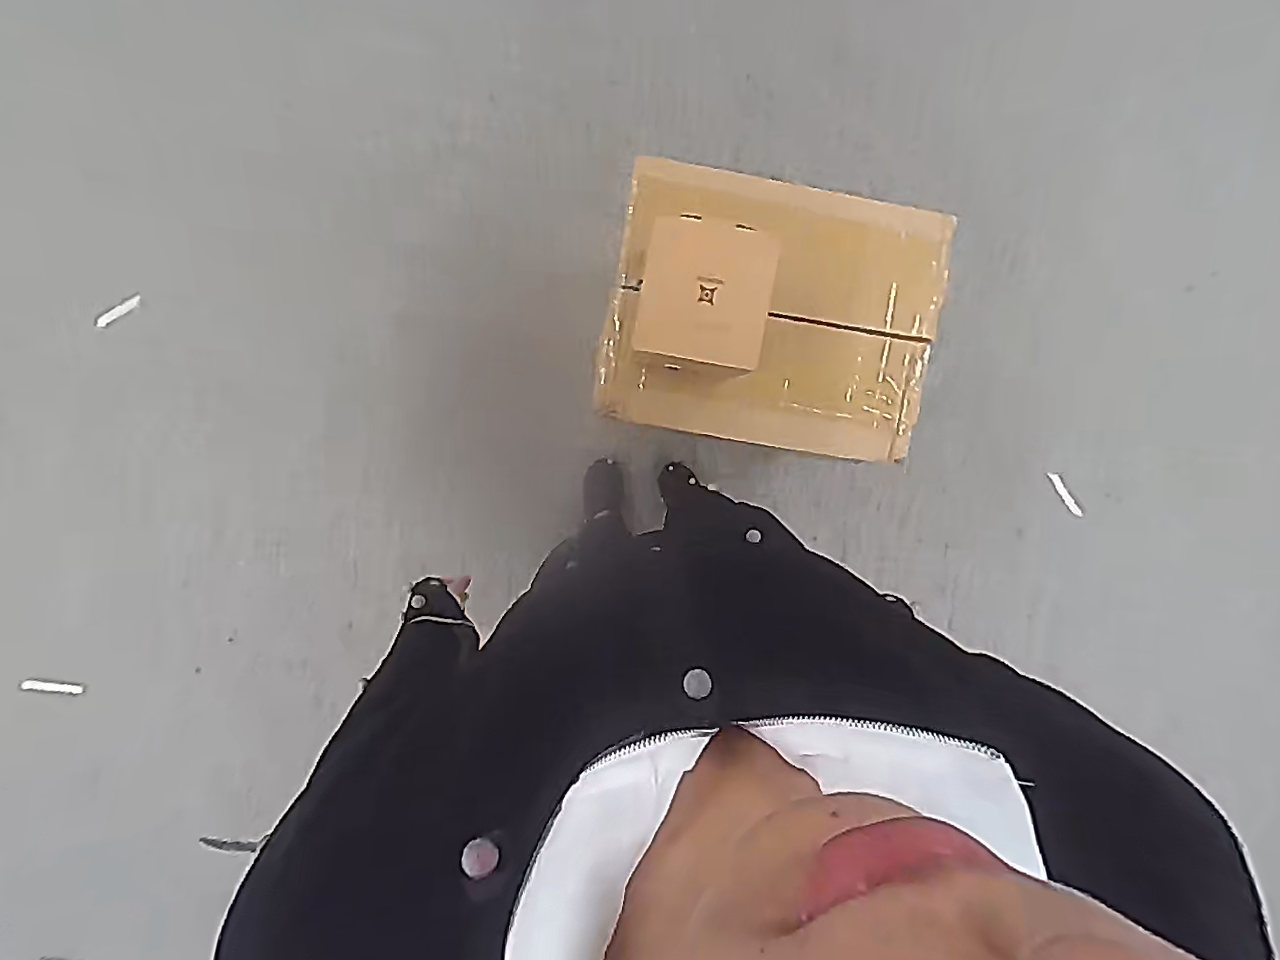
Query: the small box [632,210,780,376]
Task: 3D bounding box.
[{"bbox_3d":[0.082,-0.250,0.766,0.168,0.176,0.179,9,97,-3],"label":"small box"}]
